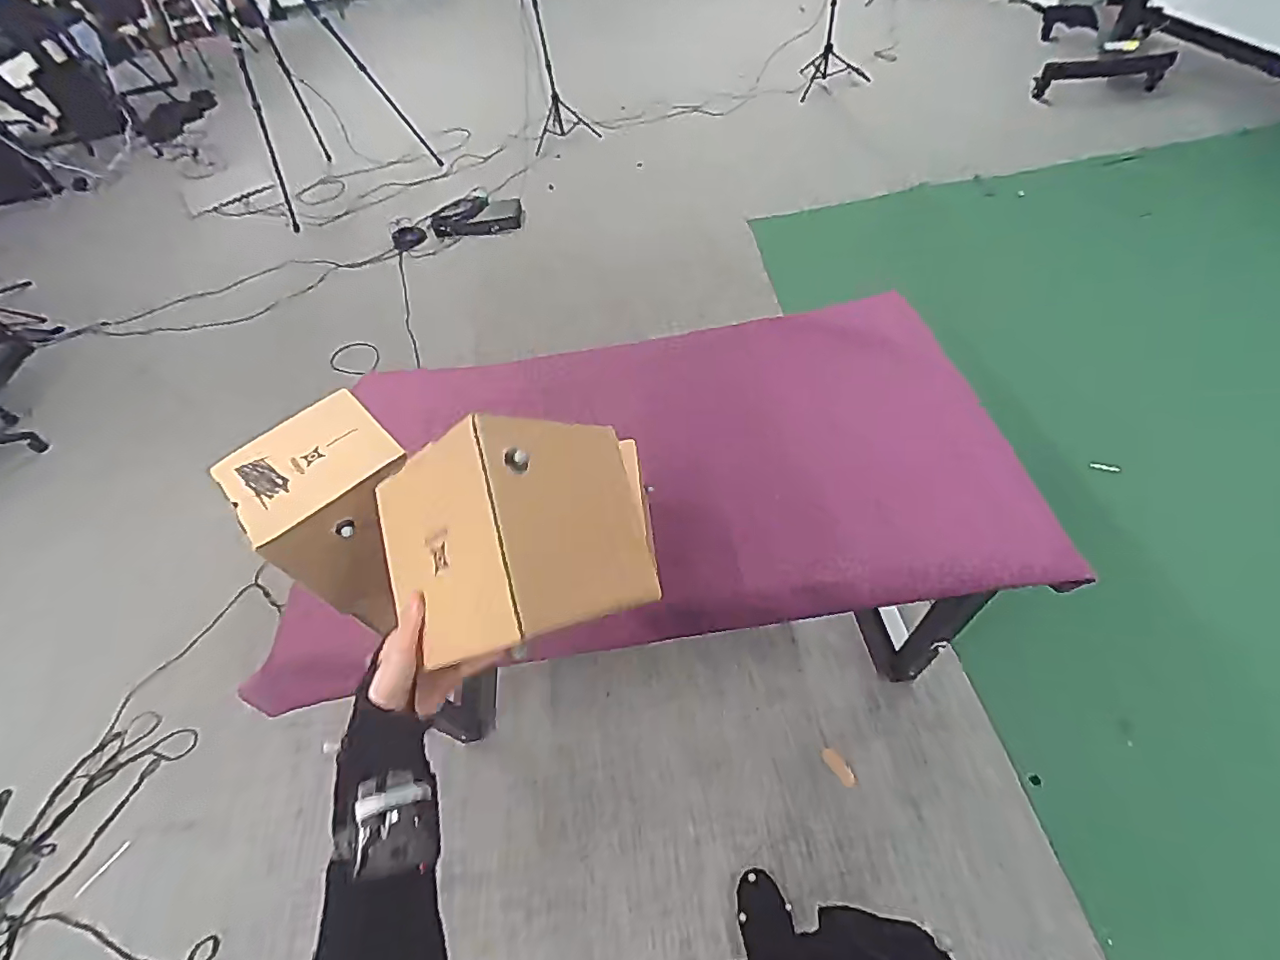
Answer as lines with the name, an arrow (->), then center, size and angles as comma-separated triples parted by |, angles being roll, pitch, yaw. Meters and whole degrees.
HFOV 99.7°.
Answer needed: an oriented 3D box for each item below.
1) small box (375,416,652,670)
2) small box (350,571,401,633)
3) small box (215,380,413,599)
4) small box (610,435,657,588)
small box -> -0.112, 0.055, 0.497 | 0.168, 0.176, 0.179 | -26, 74, 37
small box -> -0.347, 0.101, 0.817 | 0.179, 0.176, 0.168 | -29, 55, -13
small box -> -0.367, 0.016, 0.676 | 0.179, 0.176, 0.168 | -39, 57, -21
small box -> -0.069, 0.060, 0.808 | 0.168, 0.176, 0.179 | -9, 52, 3
